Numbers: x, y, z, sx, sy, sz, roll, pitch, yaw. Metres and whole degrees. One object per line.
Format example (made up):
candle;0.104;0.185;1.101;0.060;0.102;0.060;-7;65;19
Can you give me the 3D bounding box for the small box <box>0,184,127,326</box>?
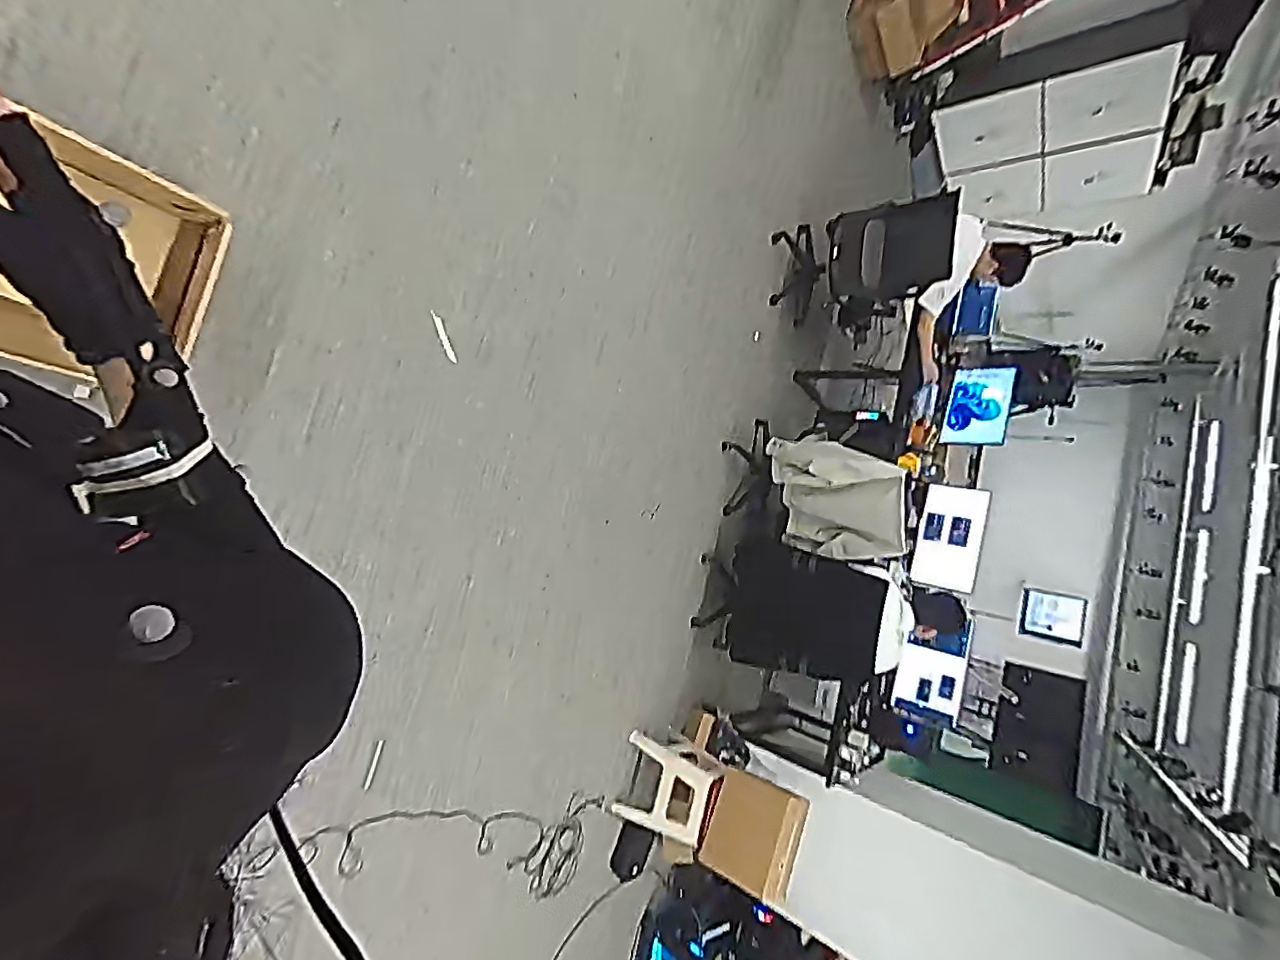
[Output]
small box;-1.043;-0.378;0.934;0.179;0.176;0.168;22;79;-50
